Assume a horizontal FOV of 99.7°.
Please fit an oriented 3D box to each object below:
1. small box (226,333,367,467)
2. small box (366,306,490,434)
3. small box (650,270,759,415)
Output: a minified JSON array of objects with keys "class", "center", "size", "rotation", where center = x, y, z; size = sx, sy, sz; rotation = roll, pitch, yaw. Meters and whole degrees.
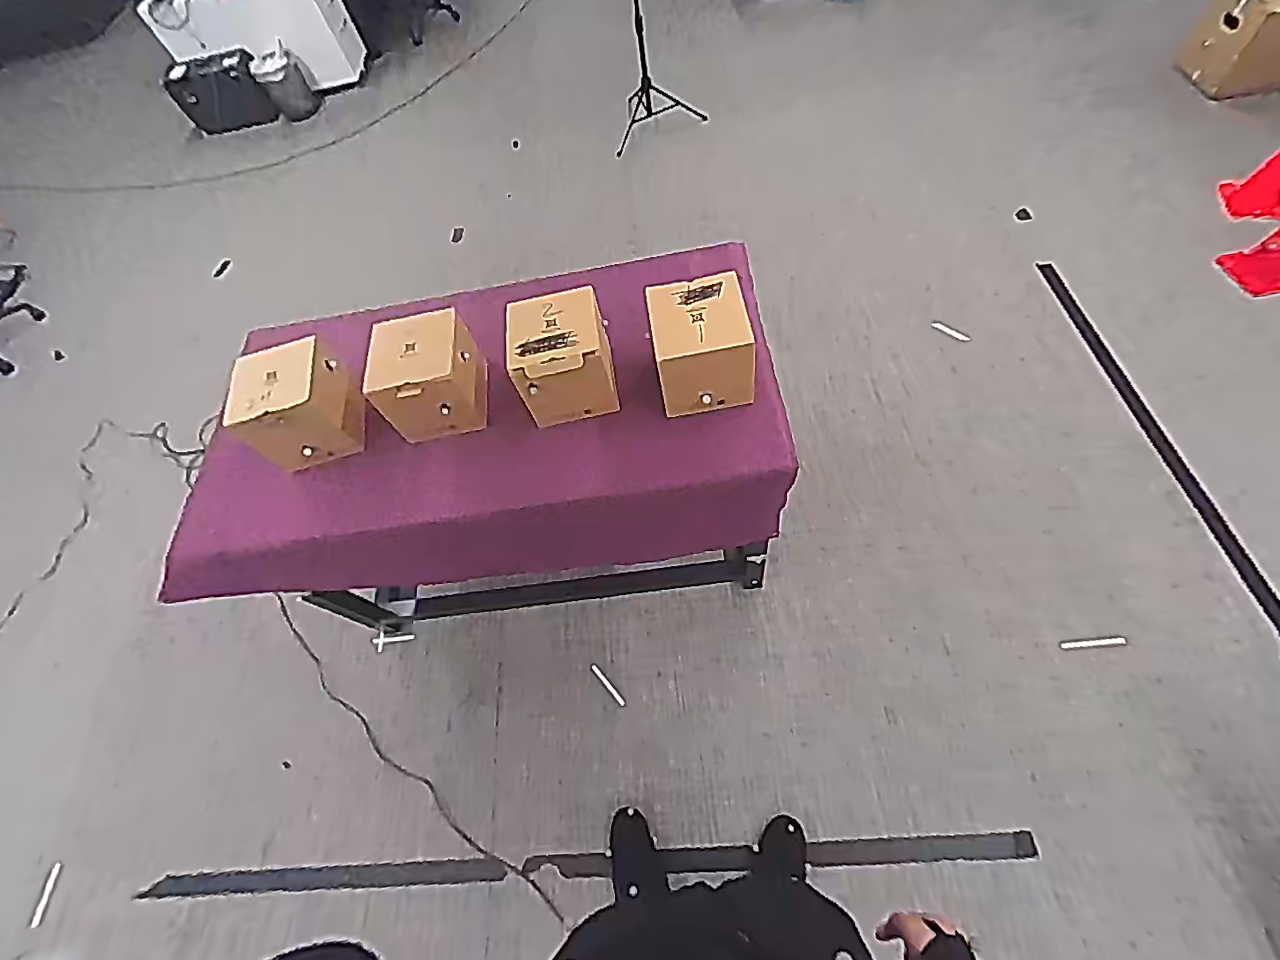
[{"class":"small box","center":[-0.668,-0.155,1.074],"size":[0.168,0.176,0.179],"rotation":[-16,60,1]},{"class":"small box","center":[-0.403,-0.206,1.059],"size":[0.168,0.176,0.179],"rotation":[-10,60,4]},{"class":"small box","center":[0.116,-0.246,0.986],"size":[0.168,0.176,0.179],"rotation":[-10,61,5]}]
